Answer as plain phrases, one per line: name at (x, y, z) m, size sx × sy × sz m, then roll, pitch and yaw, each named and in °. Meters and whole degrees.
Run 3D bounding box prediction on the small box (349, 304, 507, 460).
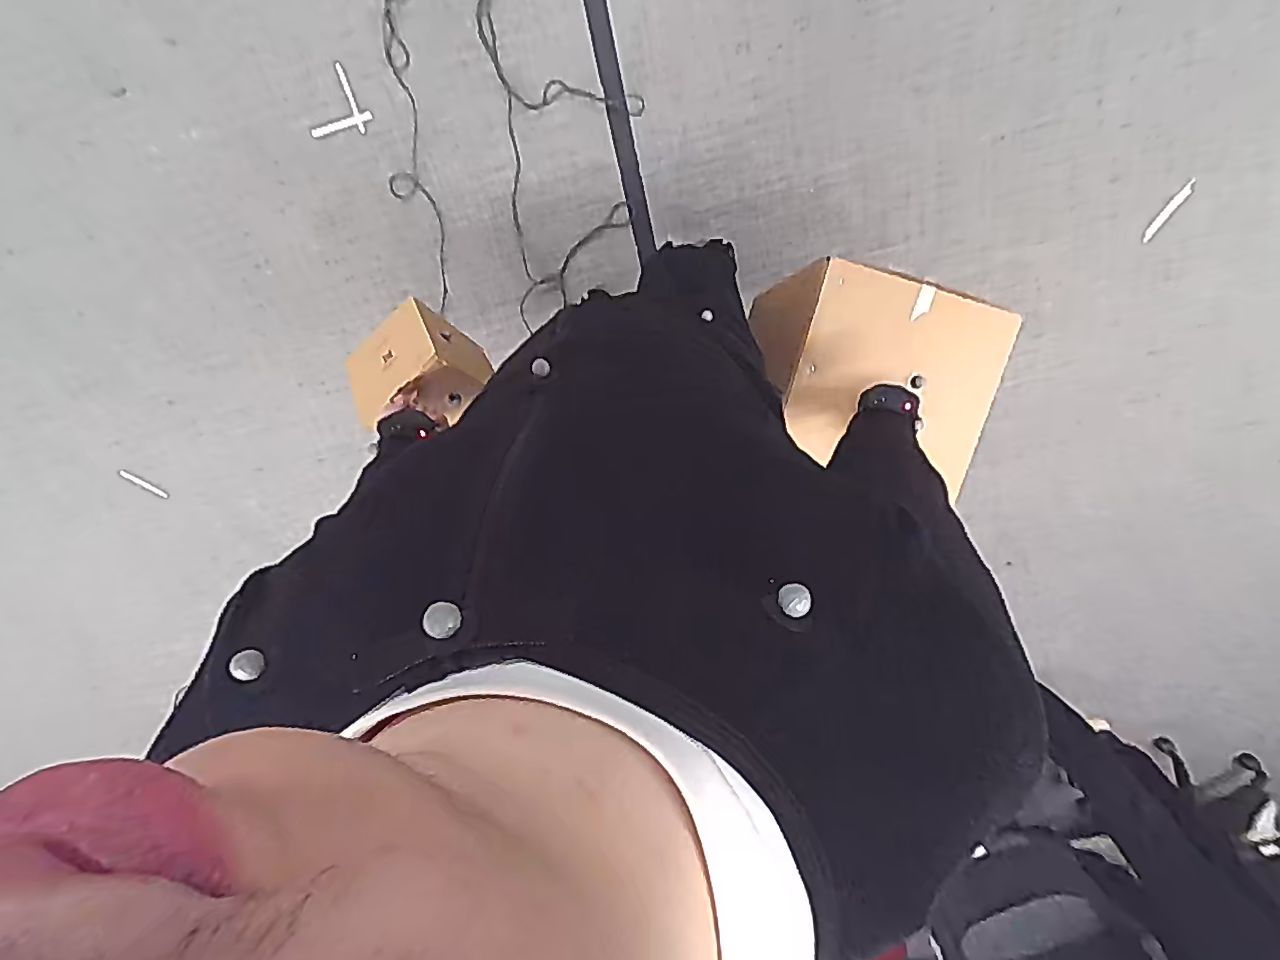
small box at (-0.356, -0.155, 0.921) m, size 0.168 × 0.179 × 0.176 m, roll -40°, pitch 145°, yaw 9°
